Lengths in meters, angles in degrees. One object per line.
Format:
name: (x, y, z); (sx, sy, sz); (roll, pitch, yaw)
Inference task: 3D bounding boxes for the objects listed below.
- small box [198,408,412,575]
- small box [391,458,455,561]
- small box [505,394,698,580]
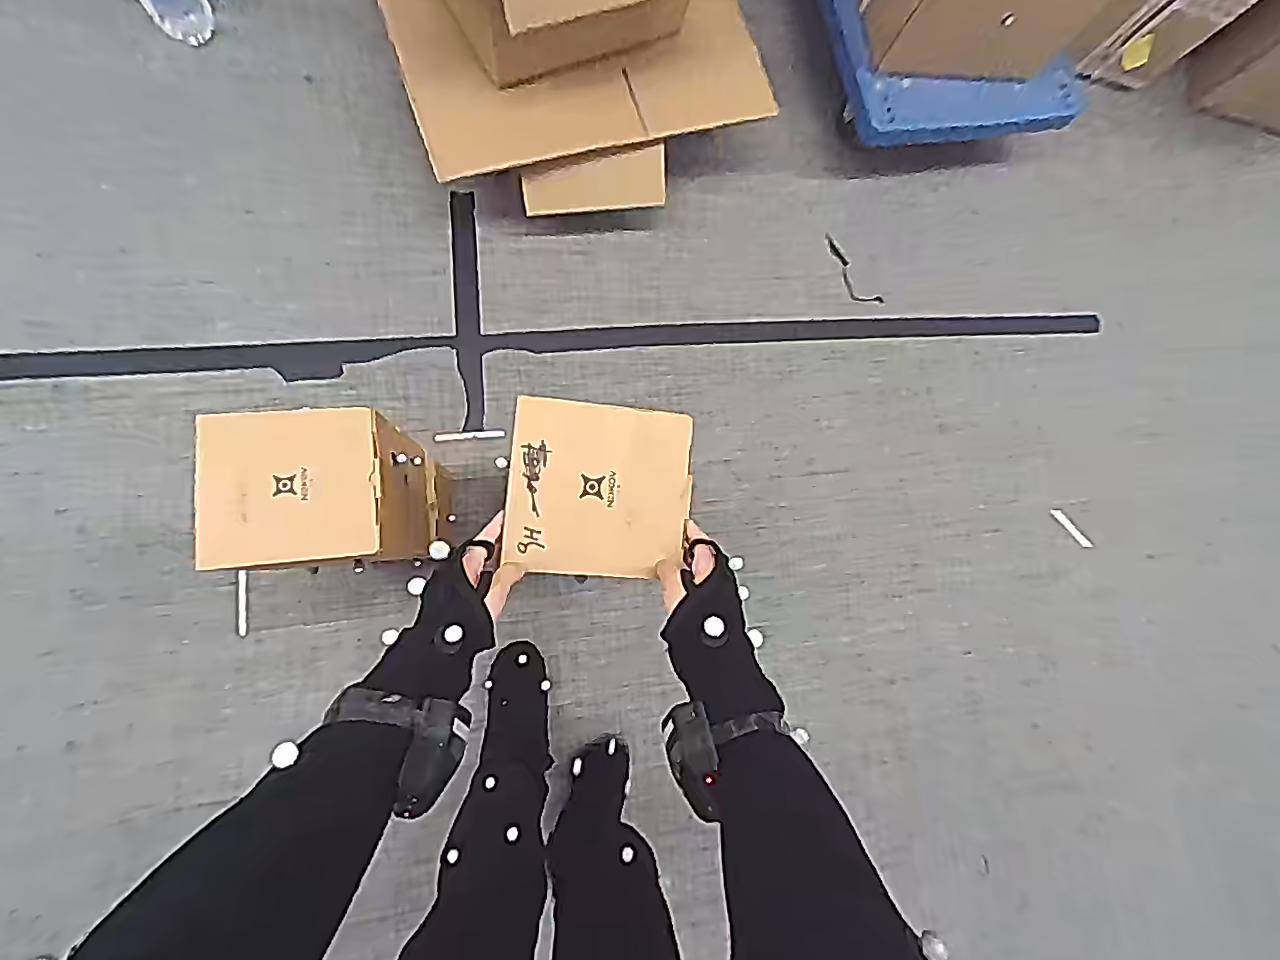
small box: (-0.378, 0.019, 0.643); (0.179, 0.176, 0.168); (-5, 82, -11)
small box: (-0.436, 0.058, 0.963); (0.179, 0.176, 0.168); (-3, 83, -12)
small box: (-0.050, 0.014, 0.596); (0.179, 0.176, 0.168); (6, 84, -12)
